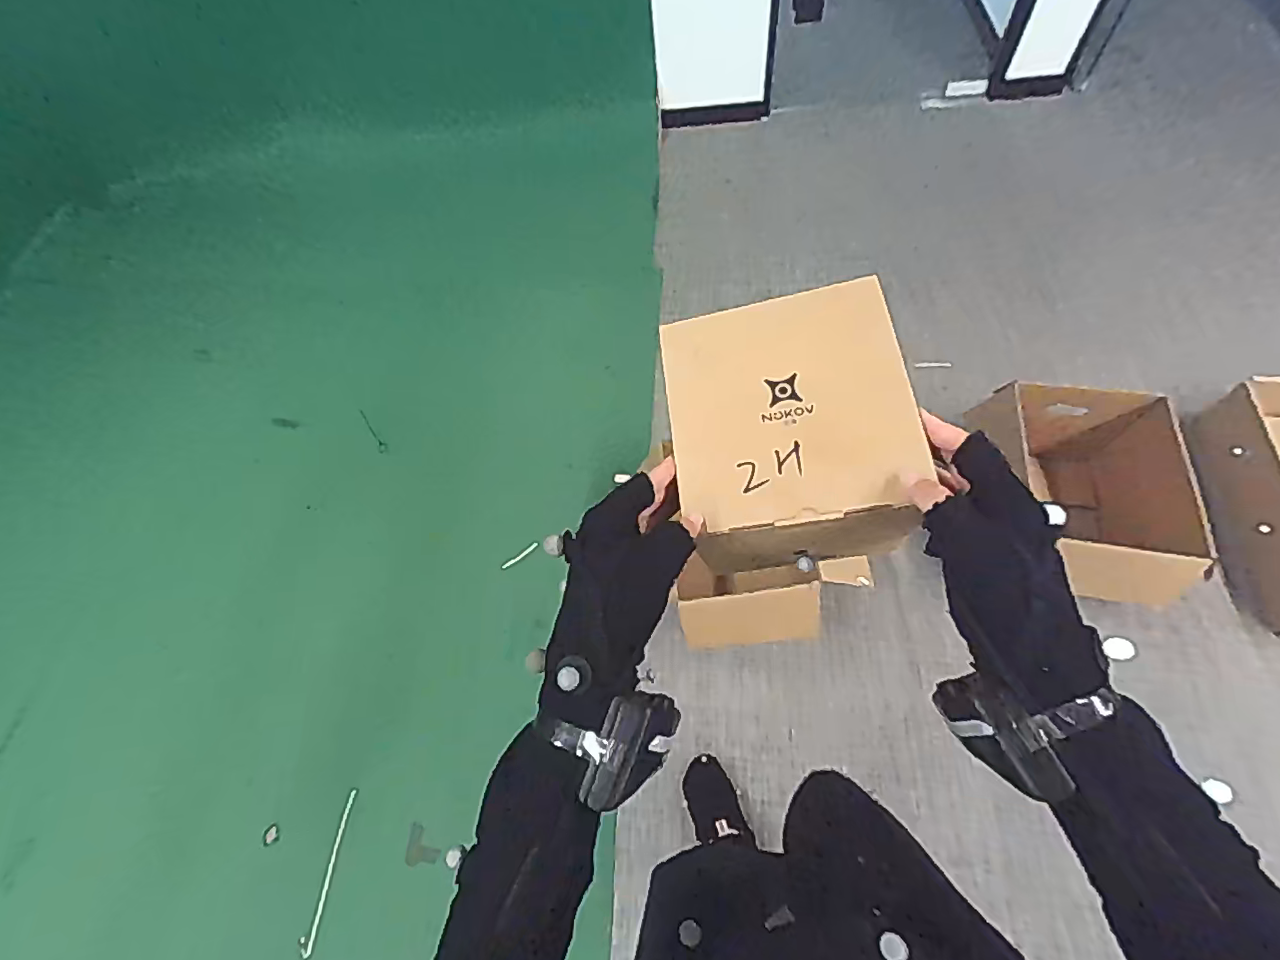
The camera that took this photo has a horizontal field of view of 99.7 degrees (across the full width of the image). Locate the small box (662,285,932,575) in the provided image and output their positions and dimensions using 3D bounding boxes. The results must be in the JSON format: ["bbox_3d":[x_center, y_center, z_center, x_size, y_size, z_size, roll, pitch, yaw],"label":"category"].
[{"bbox_3d":[0.121,-0.027,0.460,0.168,0.176,0.179,-10,69,13],"label":"small box"}]
